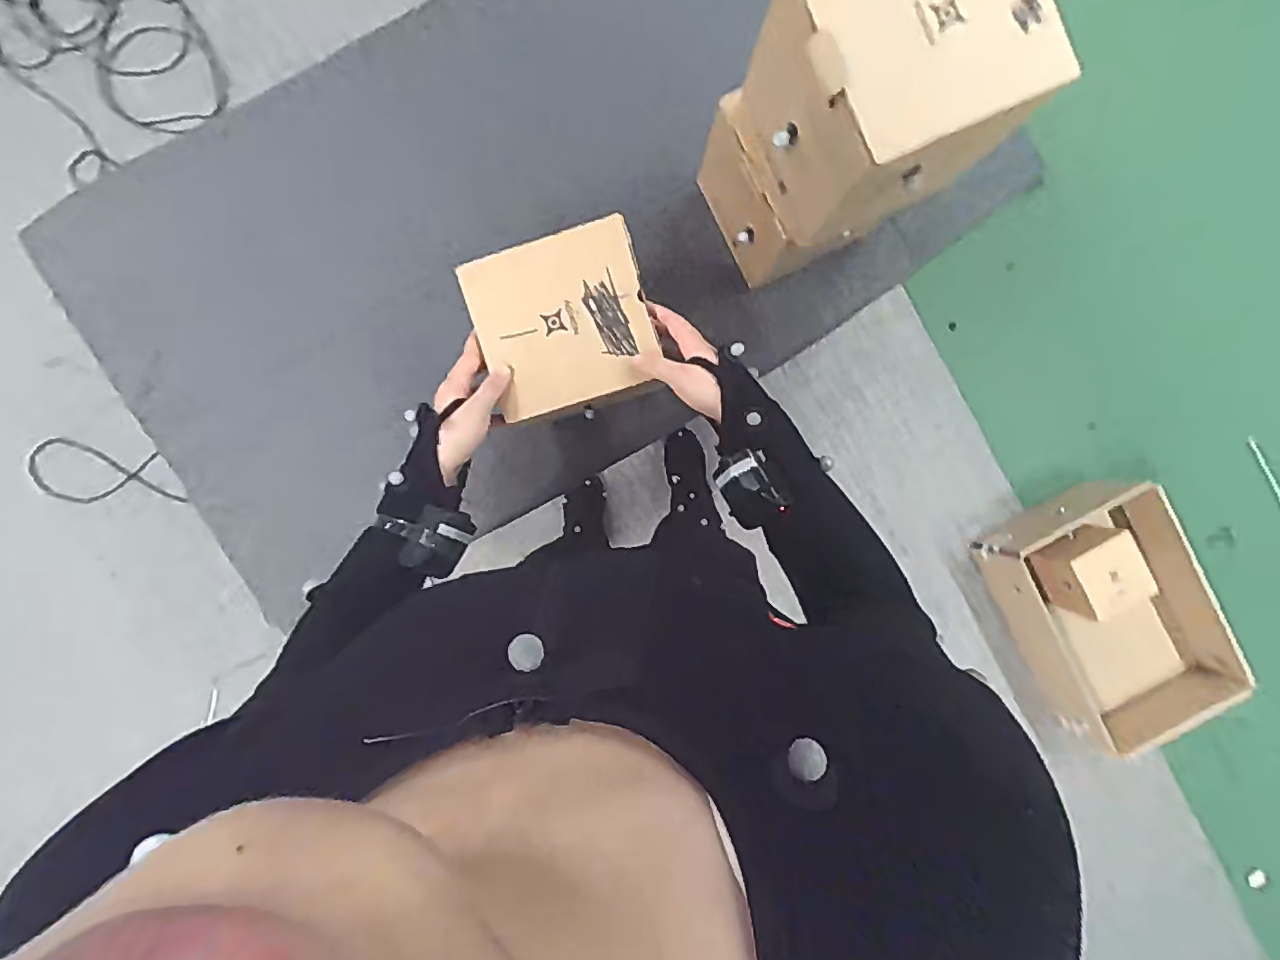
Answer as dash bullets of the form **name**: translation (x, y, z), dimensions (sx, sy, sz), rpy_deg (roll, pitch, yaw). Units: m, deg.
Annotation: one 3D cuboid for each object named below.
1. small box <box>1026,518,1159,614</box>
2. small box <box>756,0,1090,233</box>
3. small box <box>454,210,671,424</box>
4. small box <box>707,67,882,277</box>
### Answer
- **small box**: translation (1.144, 0.208, 1.382), dimensions (0.168, 0.176, 0.179), rpy_deg (-29, 96, 2)
- **small box**: translation (0.214, -0.346, 0.466), dimensions (0.179, 0.176, 0.168), rpy_deg (-24, 94, 0)
- **small box**: translation (-0.073, -0.166, 0.600), dimensions (0.179, 0.176, 0.168), rpy_deg (-16, 96, 4)
- **small box**: translation (0.190, -0.366, 0.628), dimensions (0.179, 0.176, 0.168), rpy_deg (-28, 95, -1)
